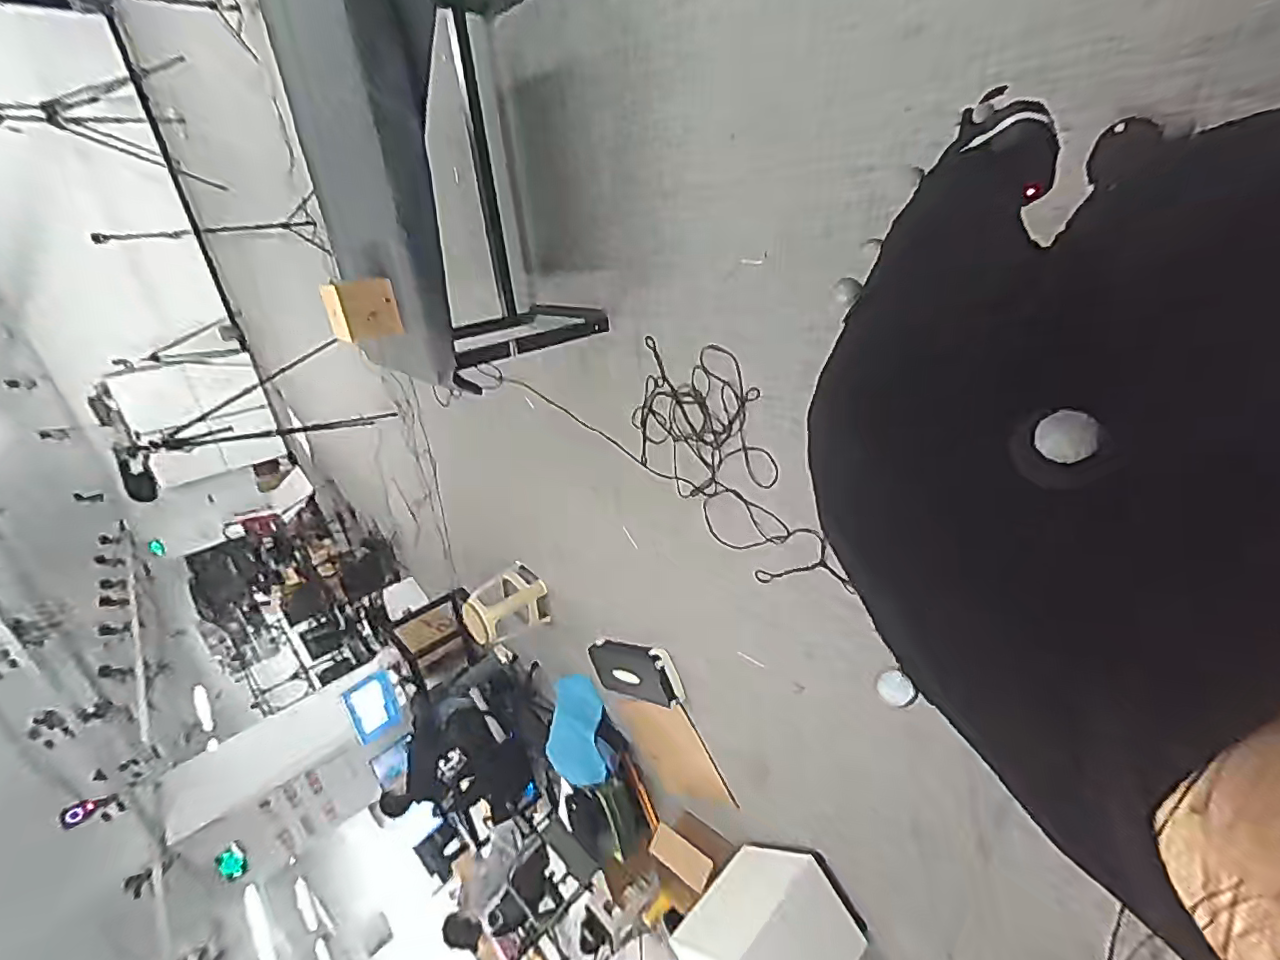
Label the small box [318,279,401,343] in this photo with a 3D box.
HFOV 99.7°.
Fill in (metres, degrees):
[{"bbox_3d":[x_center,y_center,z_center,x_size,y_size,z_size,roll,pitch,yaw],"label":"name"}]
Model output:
[{"bbox_3d":[-0.875,-0.536,1.701,0.179,0.176,0.168,20,125,44],"label":"small box"}]
